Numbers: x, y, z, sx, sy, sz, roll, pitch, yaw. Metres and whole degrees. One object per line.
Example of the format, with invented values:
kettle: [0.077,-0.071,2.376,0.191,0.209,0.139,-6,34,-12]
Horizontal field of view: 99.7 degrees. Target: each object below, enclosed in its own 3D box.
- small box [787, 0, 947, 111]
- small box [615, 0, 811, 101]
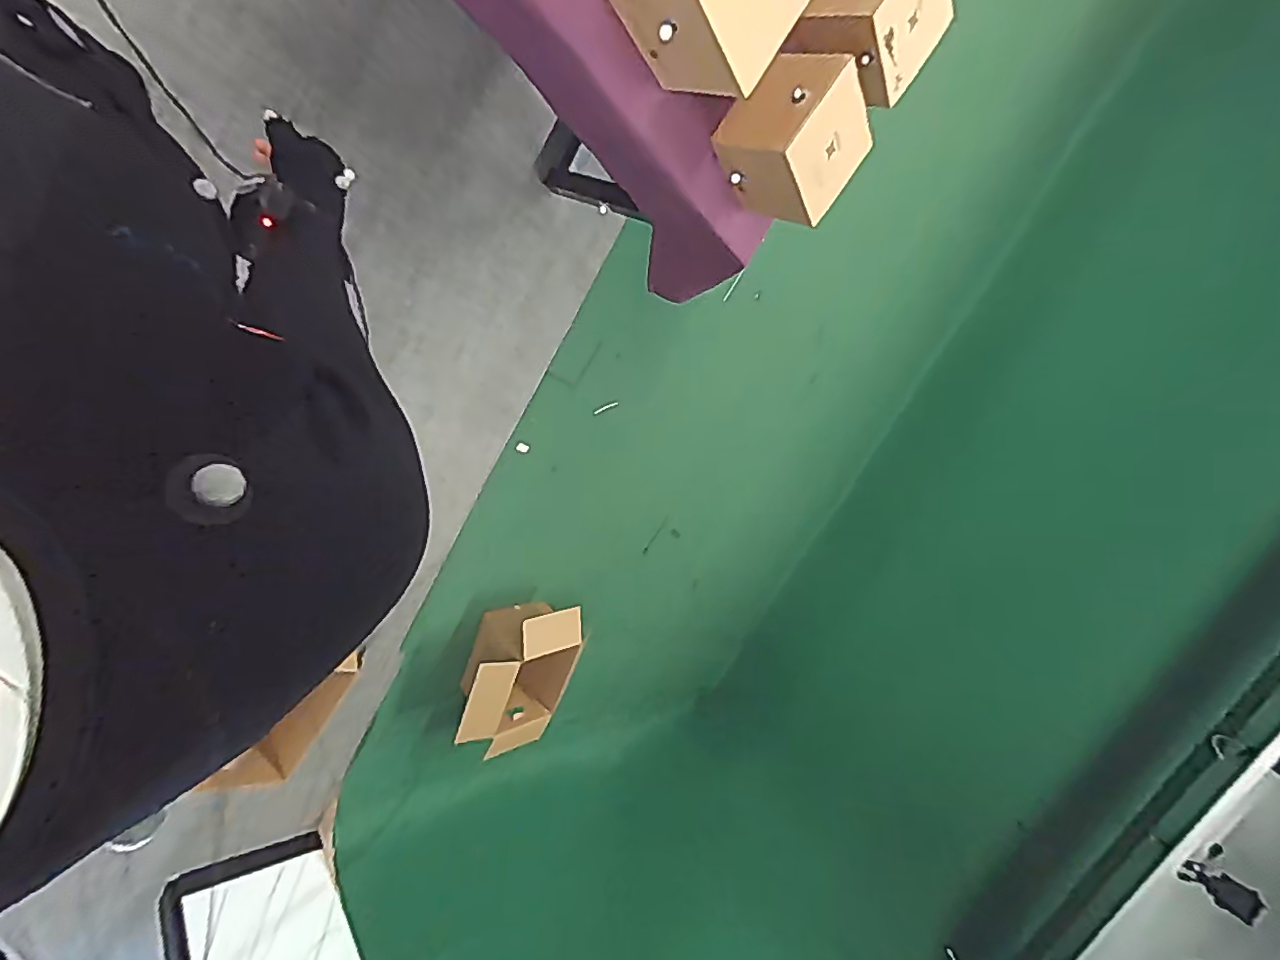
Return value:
small box: [0.371,-0.754,0.888,0.179,0.176,0.168,-56,144,4]
small box: [0.088,-0.628,0.686,0.179,0.176,0.168,-56,144,6]
